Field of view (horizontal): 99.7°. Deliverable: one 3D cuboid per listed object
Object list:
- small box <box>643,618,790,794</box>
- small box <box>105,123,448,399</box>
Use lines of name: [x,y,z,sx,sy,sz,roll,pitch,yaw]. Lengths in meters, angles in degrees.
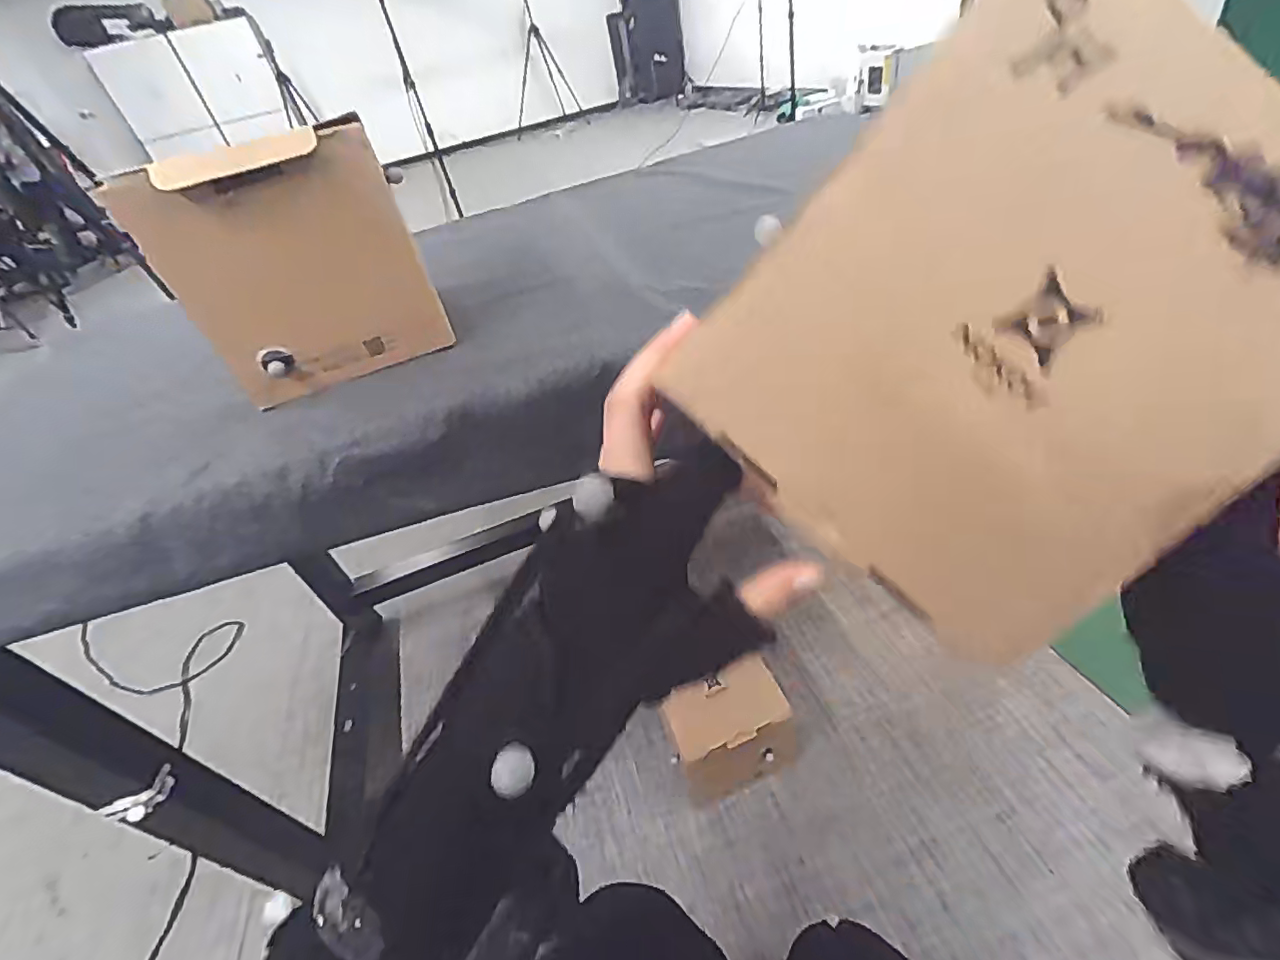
small box: [0.123,0.360,0.850,0.168,0.176,0.179,-21,38,-9]
small box: [-0.282,-0.189,0.470,0.168,0.176,0.179,-23,38,-11]
